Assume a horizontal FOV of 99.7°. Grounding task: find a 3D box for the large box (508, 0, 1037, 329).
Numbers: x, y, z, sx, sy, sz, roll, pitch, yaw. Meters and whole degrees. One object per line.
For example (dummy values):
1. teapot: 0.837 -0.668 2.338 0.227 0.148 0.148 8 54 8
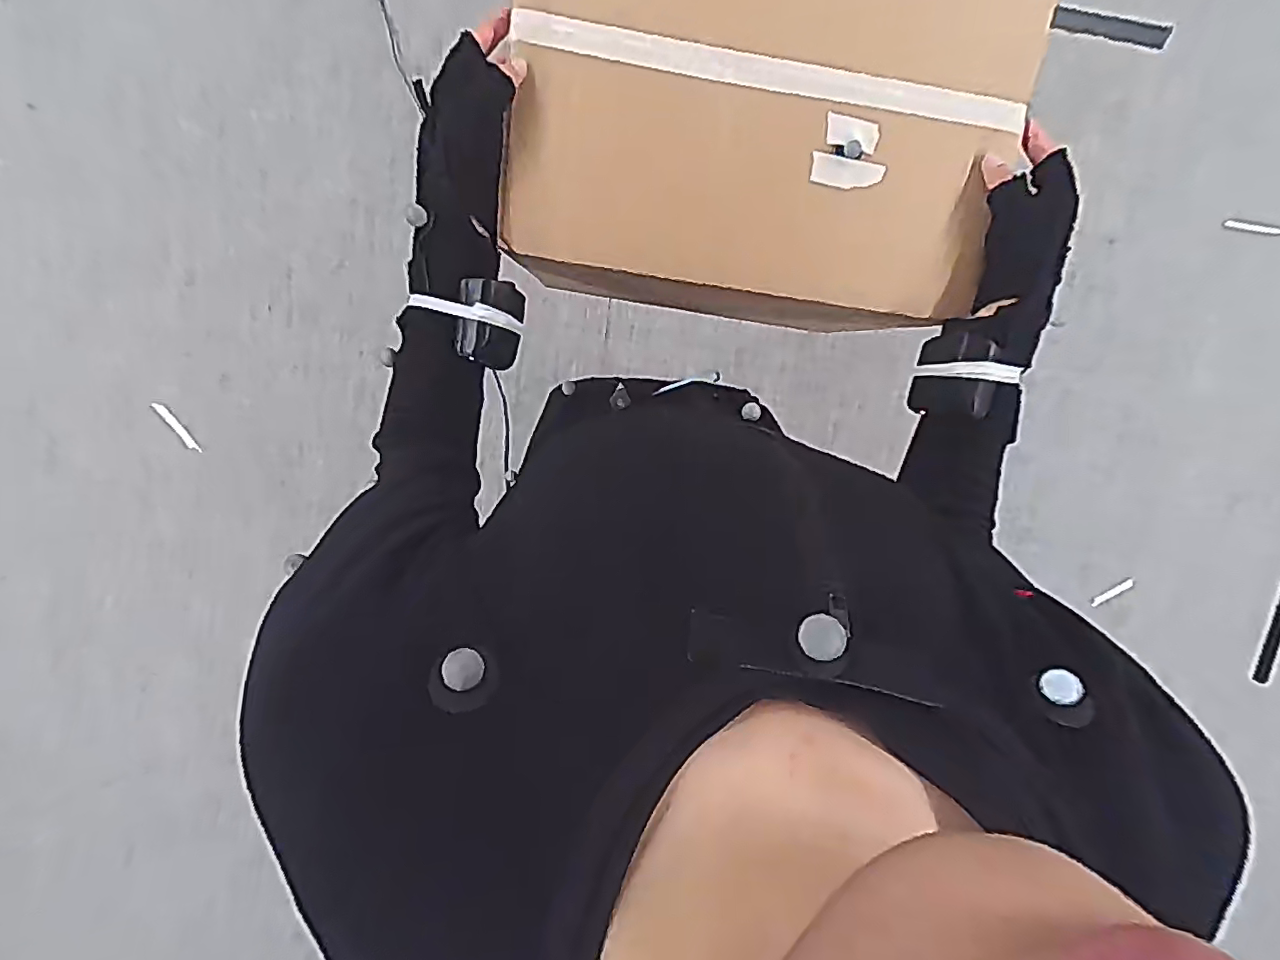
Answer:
1. large box: 0.095 -0.349 0.576 0.408 0.320 0.320 7 104 -5
